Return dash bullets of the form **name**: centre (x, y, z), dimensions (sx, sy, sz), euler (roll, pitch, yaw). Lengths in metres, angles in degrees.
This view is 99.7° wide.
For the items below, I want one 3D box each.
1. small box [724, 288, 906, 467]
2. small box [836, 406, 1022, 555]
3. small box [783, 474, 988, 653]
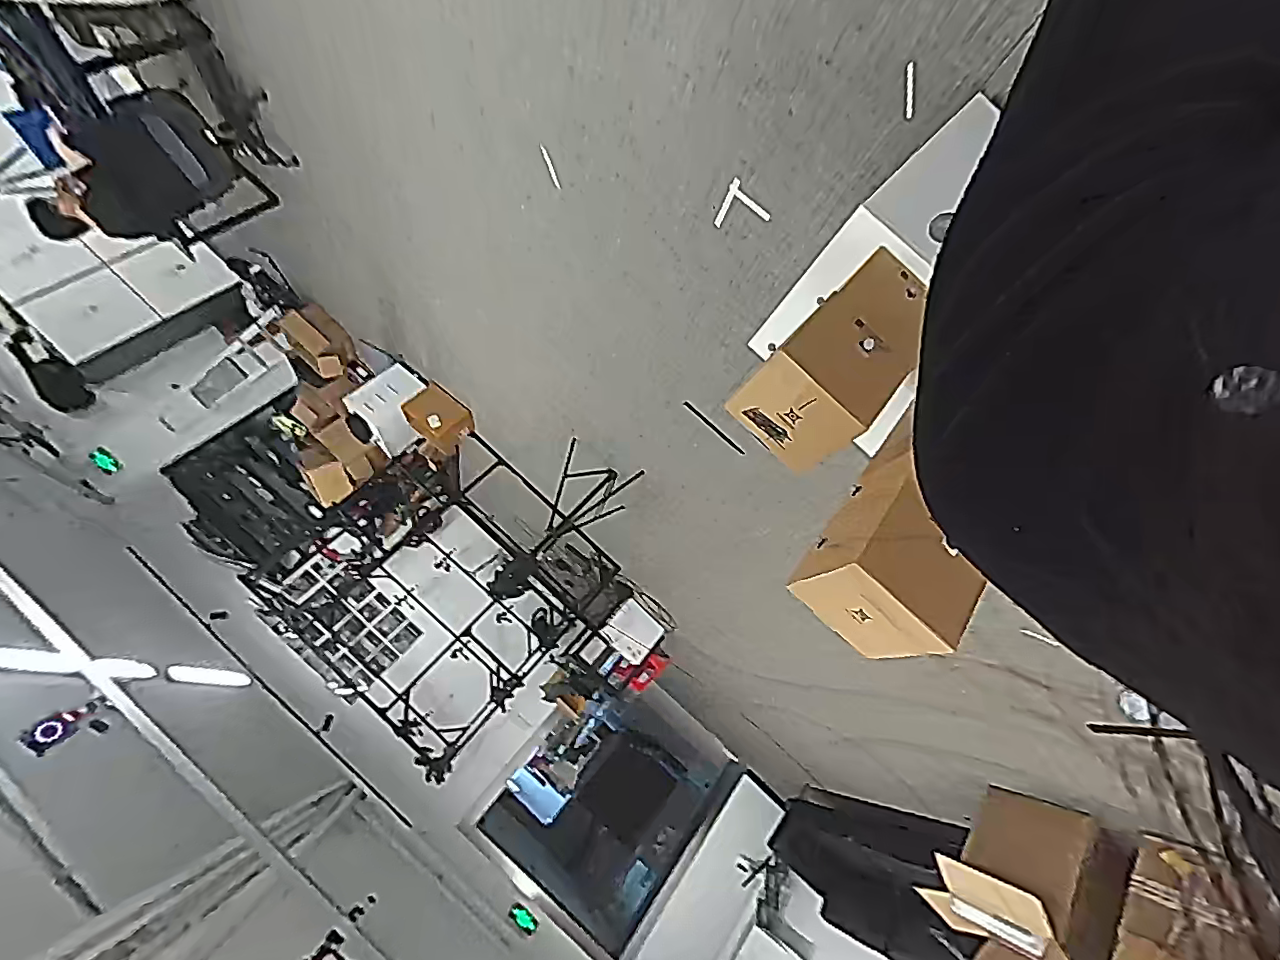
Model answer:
- **small box**: centre (0.268, -0.154, 0.836), dimensions (0.168, 0.176, 0.179), euler (43, 153, 0)
- **small box**: centre (0.449, 0.016, 0.838), dimensions (0.168, 0.176, 0.179), euler (42, 155, 2)
- **small box**: centre (0.346, 0.122, 0.770), dimensions (0.168, 0.176, 0.179), euler (42, 154, 2)
